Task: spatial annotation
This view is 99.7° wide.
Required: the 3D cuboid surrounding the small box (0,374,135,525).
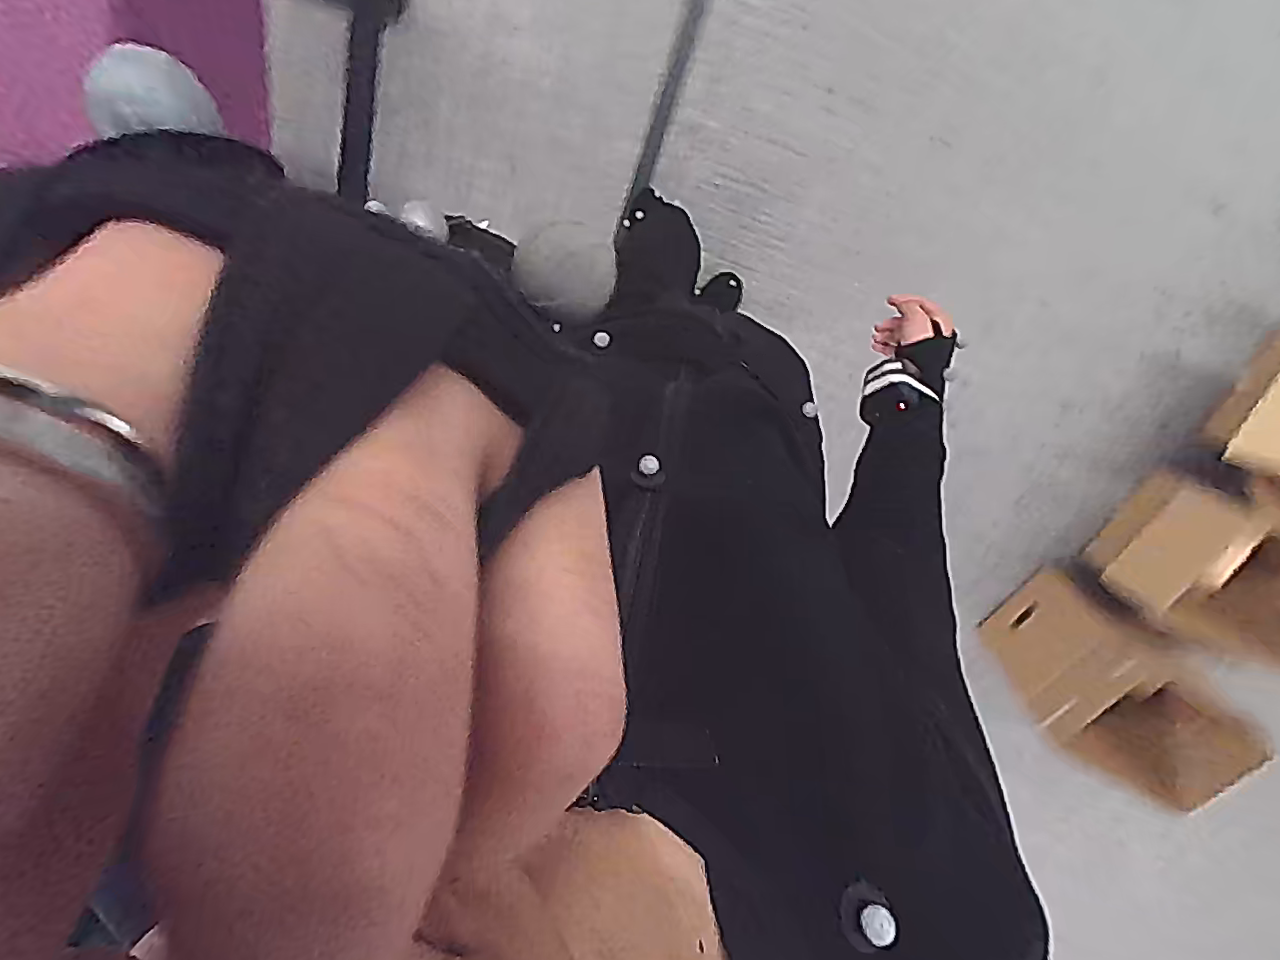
[{"bbox_3d":[-1.016,-0.058,0.920,0.168,0.176,0.179,19,116,-1],"label":"small box"}]
